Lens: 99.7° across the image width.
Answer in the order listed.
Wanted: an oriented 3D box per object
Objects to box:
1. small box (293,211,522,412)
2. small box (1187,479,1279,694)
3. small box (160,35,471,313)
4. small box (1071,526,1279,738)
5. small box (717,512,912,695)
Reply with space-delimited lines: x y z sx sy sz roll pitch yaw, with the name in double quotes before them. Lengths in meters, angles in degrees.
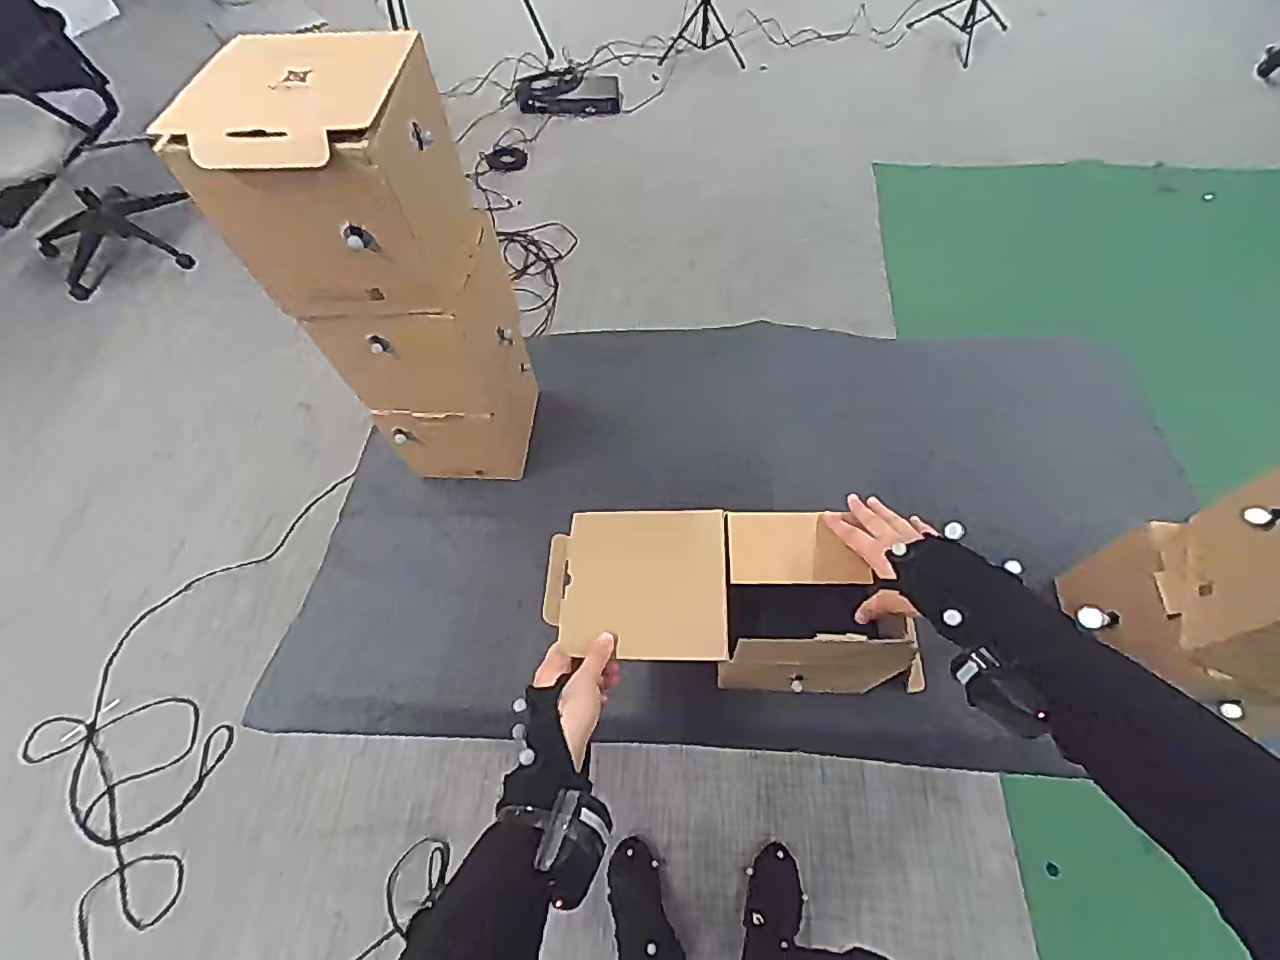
"small box" -0.257 -0.195 0.647 0.179 0.176 0.168 3 62 4
"small box" 0.606 0.096 0.436 0.179 0.176 0.168 27 62 17
"small box" -0.271 -0.274 0.505 0.168 0.176 0.179 0 60 1
"small box" 0.611 0.169 0.583 0.179 0.176 0.168 7 58 8
"small box" 0.181 0.147 0.622 0.179 0.176 0.168 0 60 6
